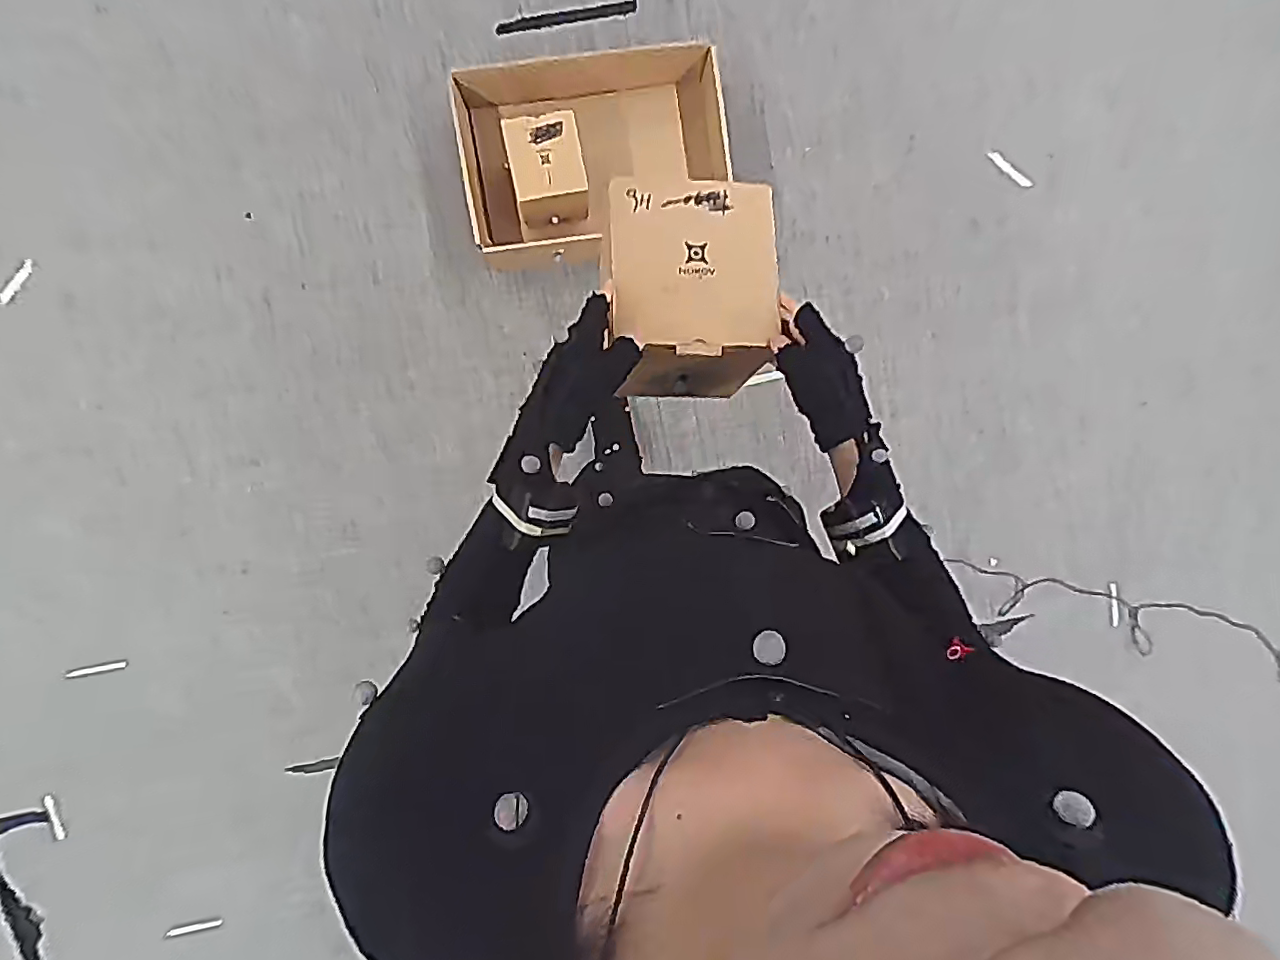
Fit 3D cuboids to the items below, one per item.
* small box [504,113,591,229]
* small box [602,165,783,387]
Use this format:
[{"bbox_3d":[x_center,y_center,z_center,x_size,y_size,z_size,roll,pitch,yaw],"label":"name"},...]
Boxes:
[{"bbox_3d":[-0.215,-0.727,1.286,0.168,0.176,0.179,-12,97,-4],"label":"small box"},{"bbox_3d":[0.046,-0.205,0.592,0.168,0.176,0.179,-1,83,-8],"label":"small box"}]
